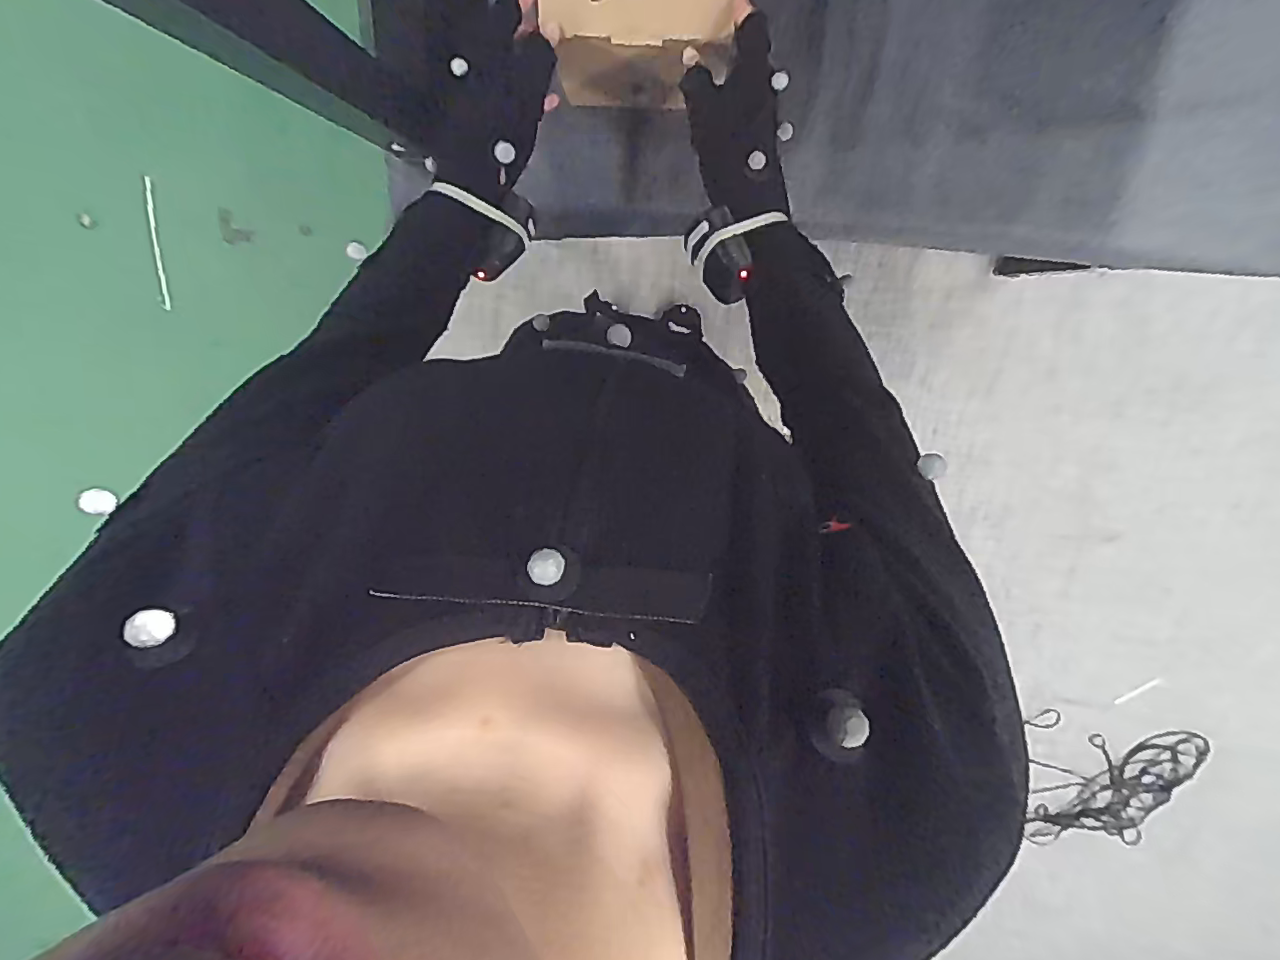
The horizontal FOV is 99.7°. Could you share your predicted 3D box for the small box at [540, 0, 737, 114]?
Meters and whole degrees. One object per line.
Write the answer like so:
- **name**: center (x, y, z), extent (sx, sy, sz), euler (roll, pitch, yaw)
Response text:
- **small box**: center (0.004, -0.476, 0.505), extent (0.168, 0.176, 0.179), euler (3, 108, 2)
